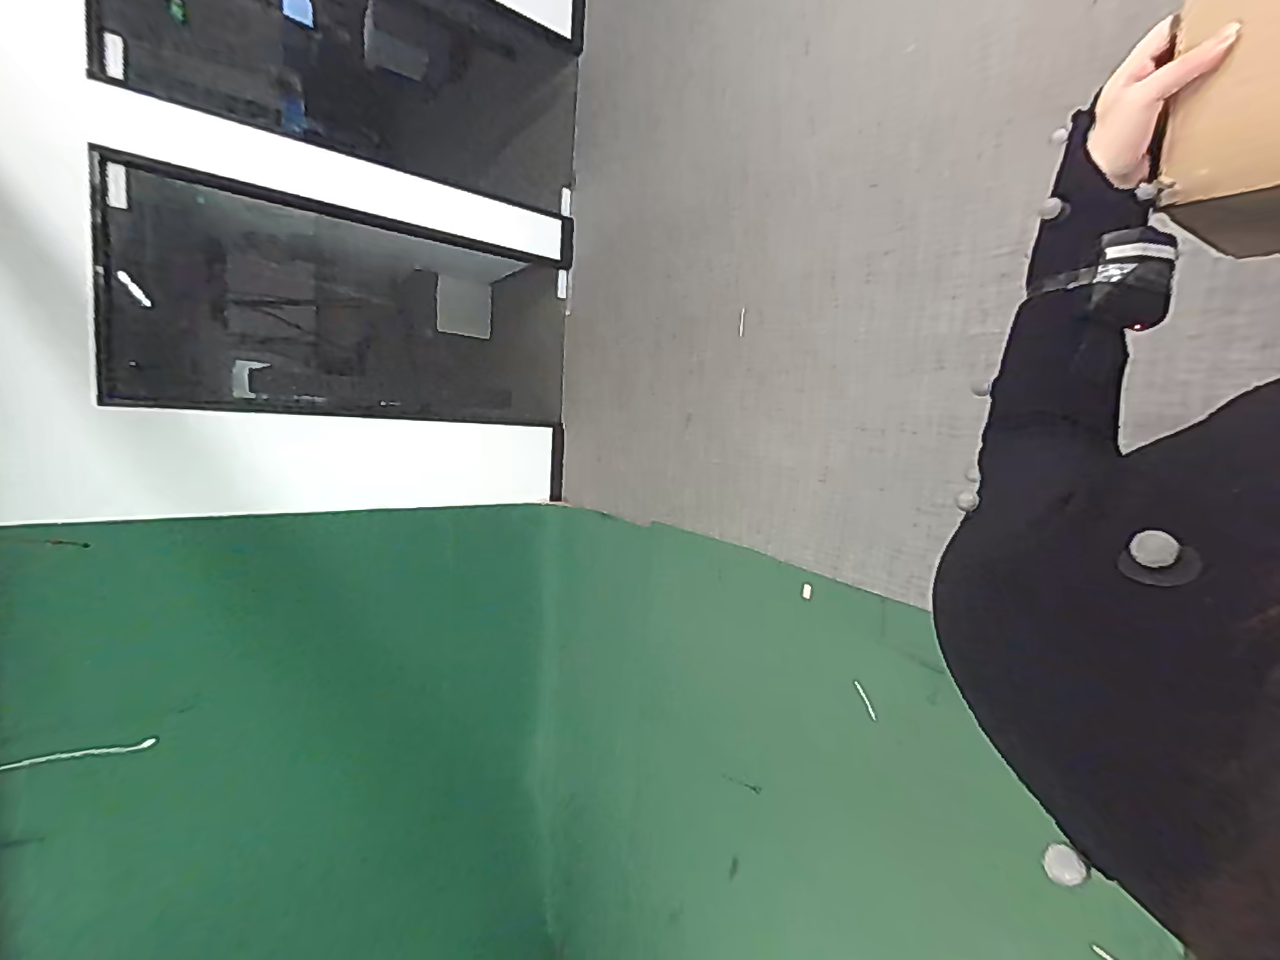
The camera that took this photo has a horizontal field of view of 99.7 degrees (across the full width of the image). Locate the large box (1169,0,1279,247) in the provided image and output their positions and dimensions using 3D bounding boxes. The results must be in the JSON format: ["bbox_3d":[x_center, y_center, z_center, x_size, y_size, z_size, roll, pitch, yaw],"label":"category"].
[{"bbox_3d":[0.639,-0.355,0.313,0.408,0.320,0.320,12,106,55],"label":"large box"}]
